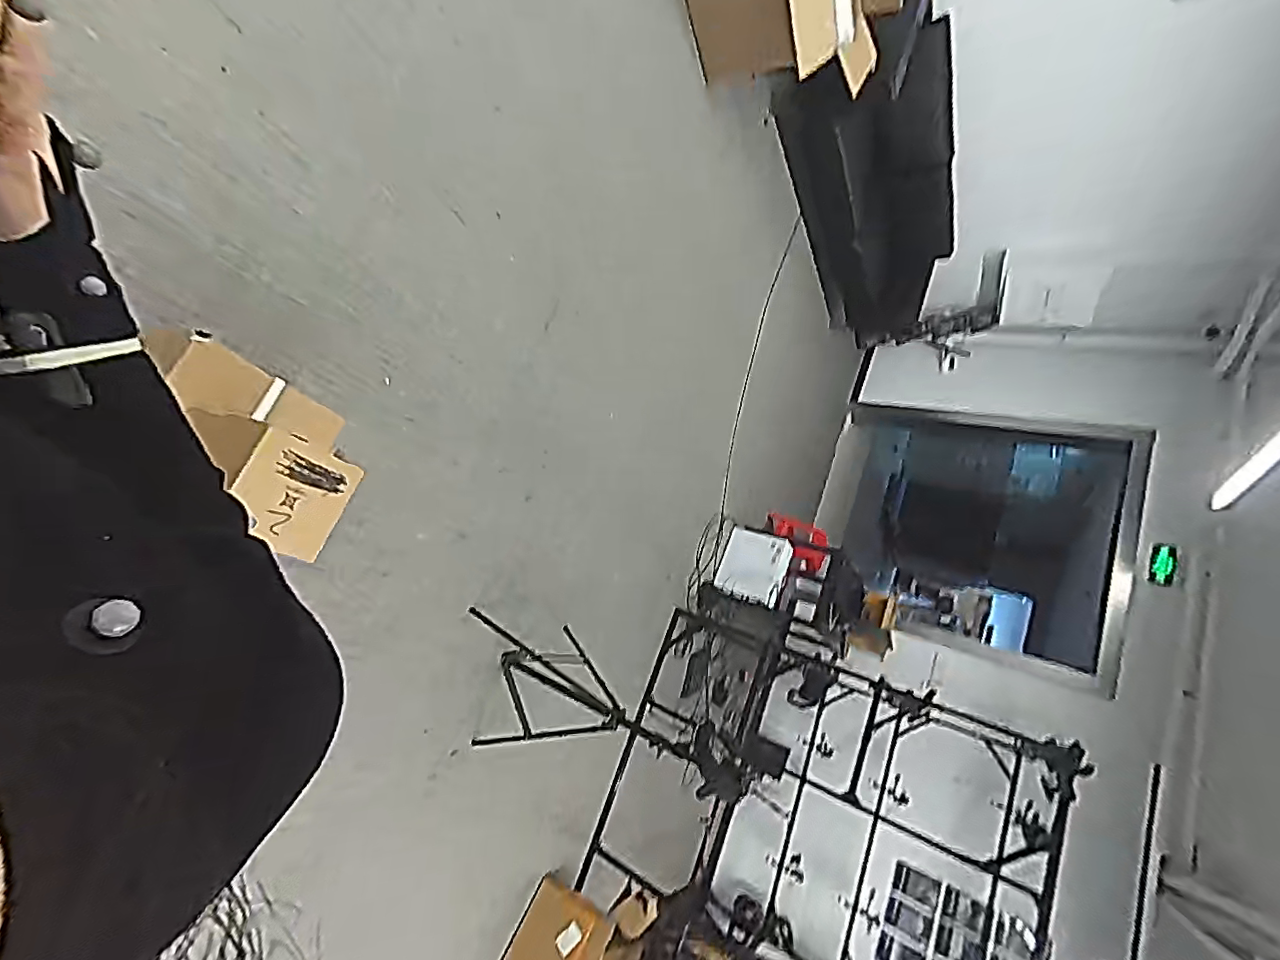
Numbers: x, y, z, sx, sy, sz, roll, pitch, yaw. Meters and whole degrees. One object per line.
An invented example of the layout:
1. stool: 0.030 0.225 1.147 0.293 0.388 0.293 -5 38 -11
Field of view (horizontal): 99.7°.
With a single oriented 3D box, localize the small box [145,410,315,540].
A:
1. small box: -0.747 -0.013 0.984 0.168 0.176 0.179 39 69 -52
